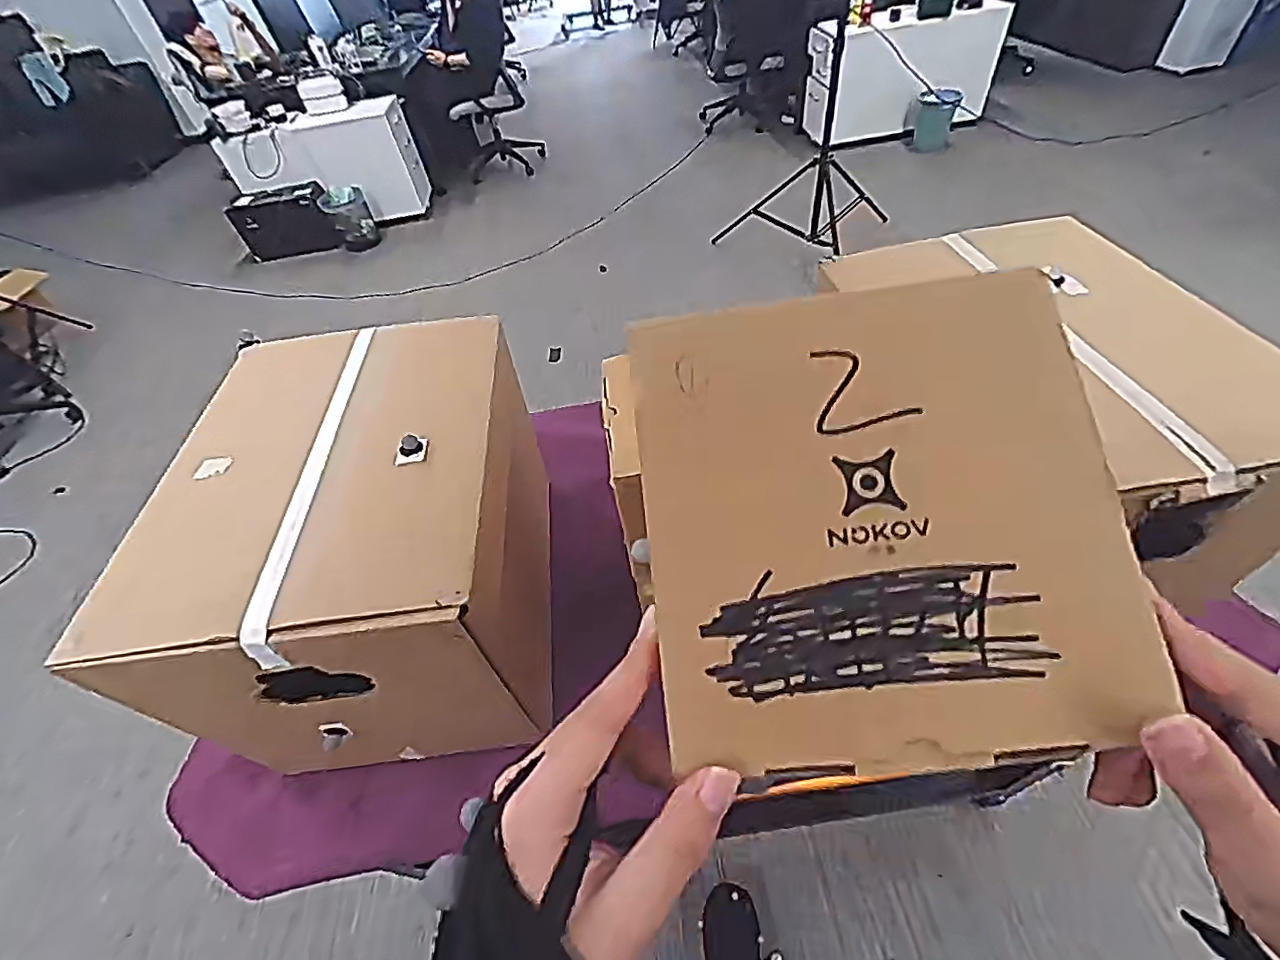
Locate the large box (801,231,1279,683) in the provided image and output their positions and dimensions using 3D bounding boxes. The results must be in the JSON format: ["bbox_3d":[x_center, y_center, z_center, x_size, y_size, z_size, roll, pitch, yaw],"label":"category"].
[{"bbox_3d":[0.405,-0.035,0.637,0.320,0.320,0.408,-9,47,0],"label":"large box"}]

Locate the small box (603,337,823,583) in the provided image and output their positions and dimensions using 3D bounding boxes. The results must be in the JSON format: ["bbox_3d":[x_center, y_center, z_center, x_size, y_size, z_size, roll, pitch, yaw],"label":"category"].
[{"bbox_3d":[0.065,-0.016,0.547,0.179,0.176,0.168,-10,48,2],"label":"small box"}]
